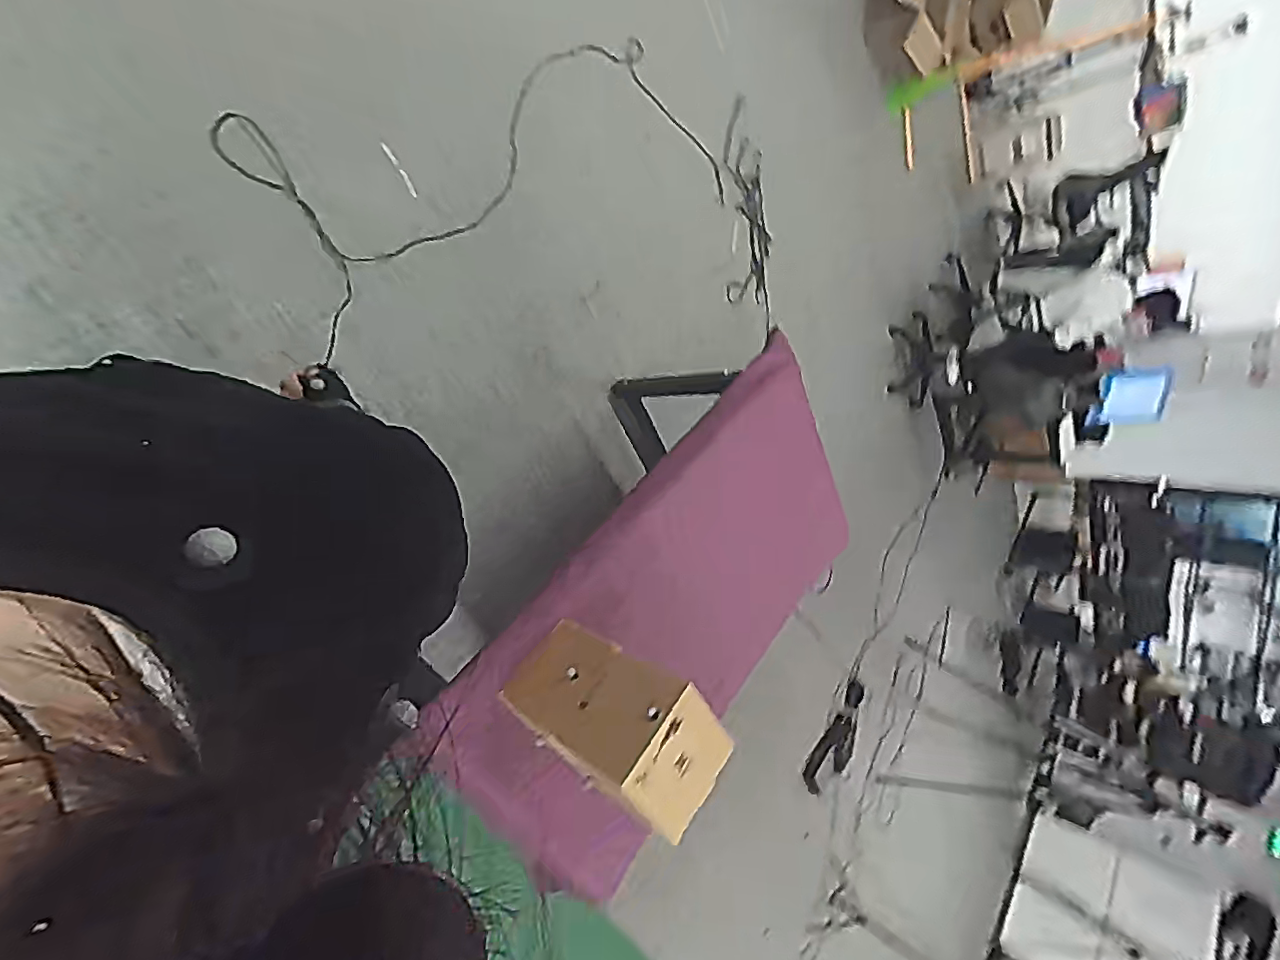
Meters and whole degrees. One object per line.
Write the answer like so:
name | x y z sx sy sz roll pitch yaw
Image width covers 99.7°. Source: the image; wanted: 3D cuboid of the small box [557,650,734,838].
small box | 0.008 0.389 0.826 0.168 0.176 0.179 -48 123 -29

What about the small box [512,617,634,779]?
small box | -0.099 0.371 0.949 0.179 0.176 0.168 -48 123 -28
